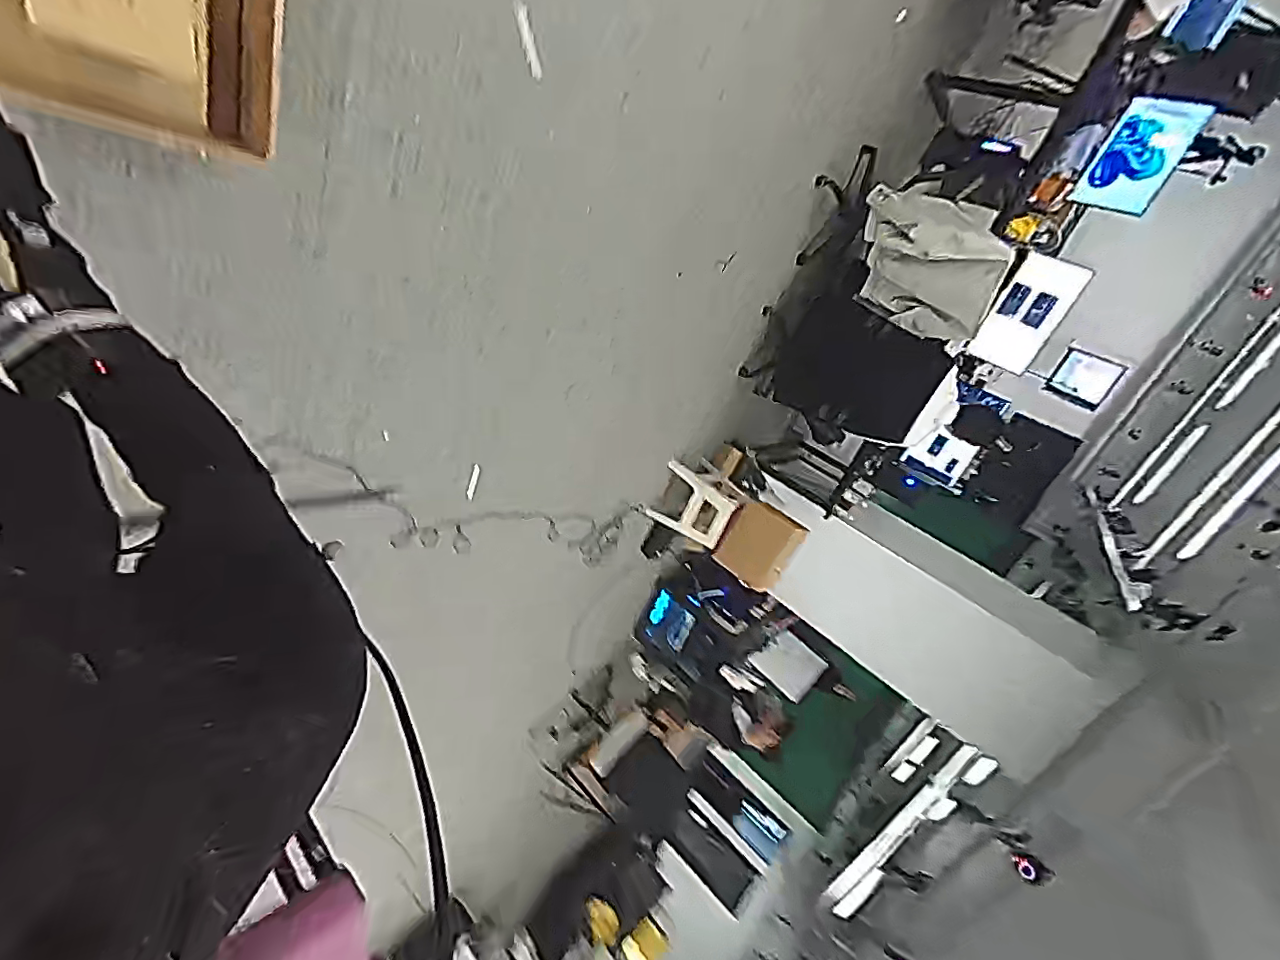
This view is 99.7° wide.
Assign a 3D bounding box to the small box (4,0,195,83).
[{"bbox_3d":[-0.763,-0.699,0.760,0.179,0.176,0.168,-13,131,-49],"label":"small box"}]
